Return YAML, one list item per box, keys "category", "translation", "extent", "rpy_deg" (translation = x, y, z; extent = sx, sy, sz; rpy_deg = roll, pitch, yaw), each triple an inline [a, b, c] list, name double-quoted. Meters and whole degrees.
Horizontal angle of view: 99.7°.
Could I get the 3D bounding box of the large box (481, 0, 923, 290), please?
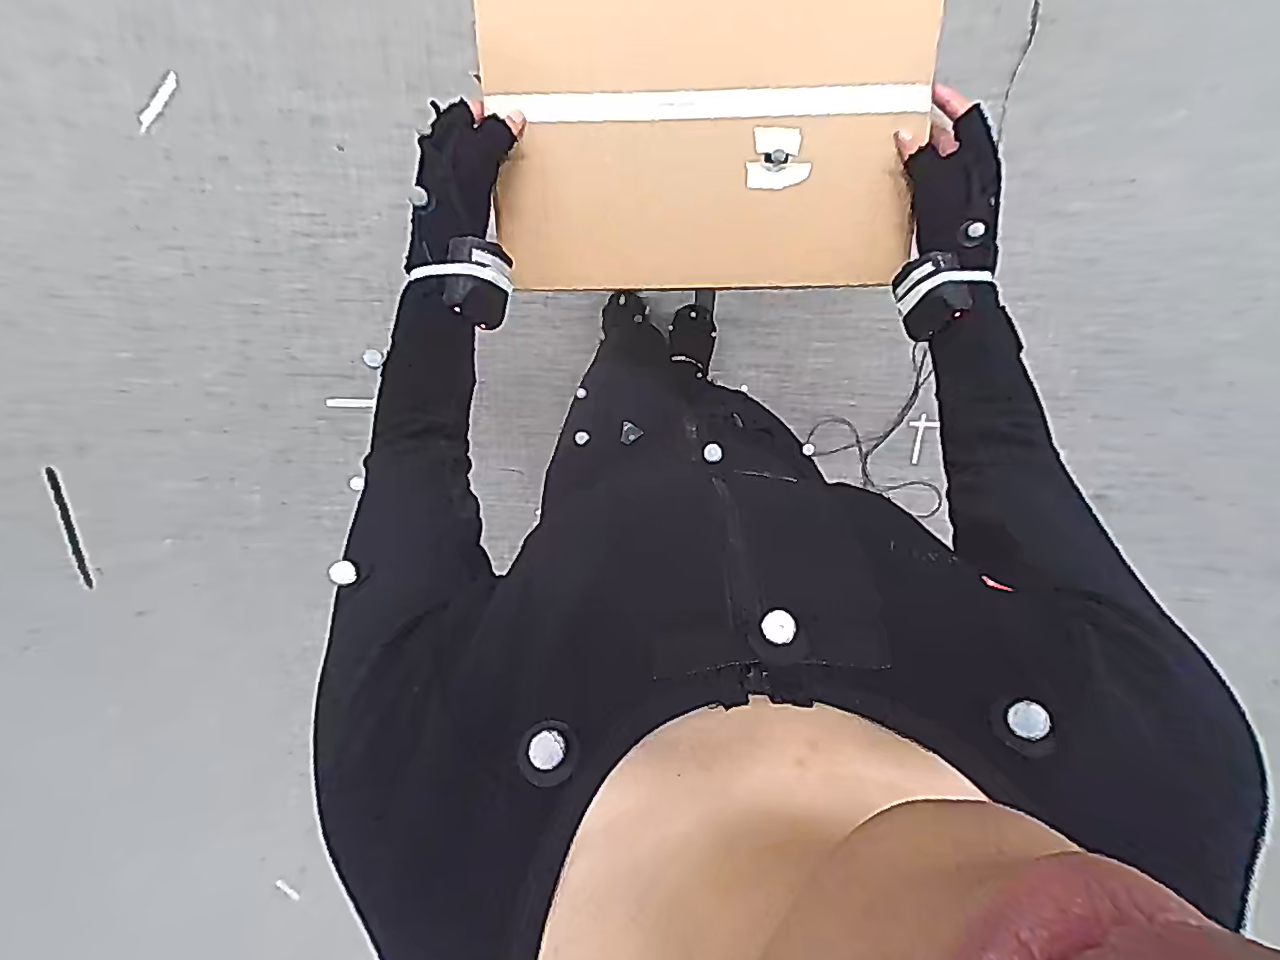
- category: "large box"
  translation: [0.057, -0.402, 0.651]
  extent: [0.408, 0.320, 0.320]
  rpy_deg: [-1, 109, 0]
